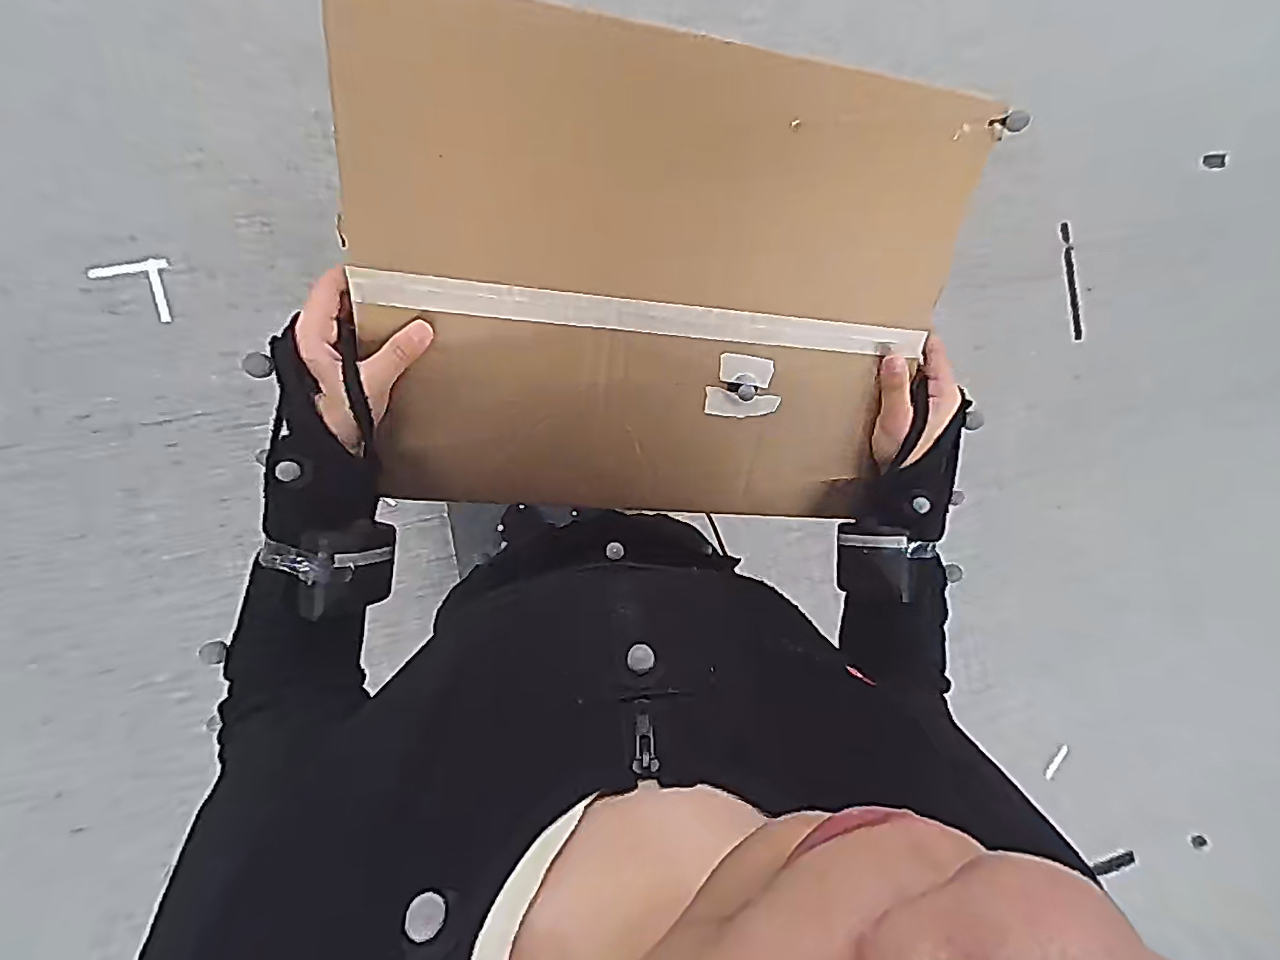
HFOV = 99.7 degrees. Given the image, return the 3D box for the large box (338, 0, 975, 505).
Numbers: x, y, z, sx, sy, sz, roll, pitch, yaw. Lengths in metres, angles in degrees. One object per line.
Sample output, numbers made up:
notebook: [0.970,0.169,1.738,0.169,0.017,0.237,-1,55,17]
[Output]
large box: [-0.009,-0.184,0.520,0.408,0.320,0.320,2,118,-12]
